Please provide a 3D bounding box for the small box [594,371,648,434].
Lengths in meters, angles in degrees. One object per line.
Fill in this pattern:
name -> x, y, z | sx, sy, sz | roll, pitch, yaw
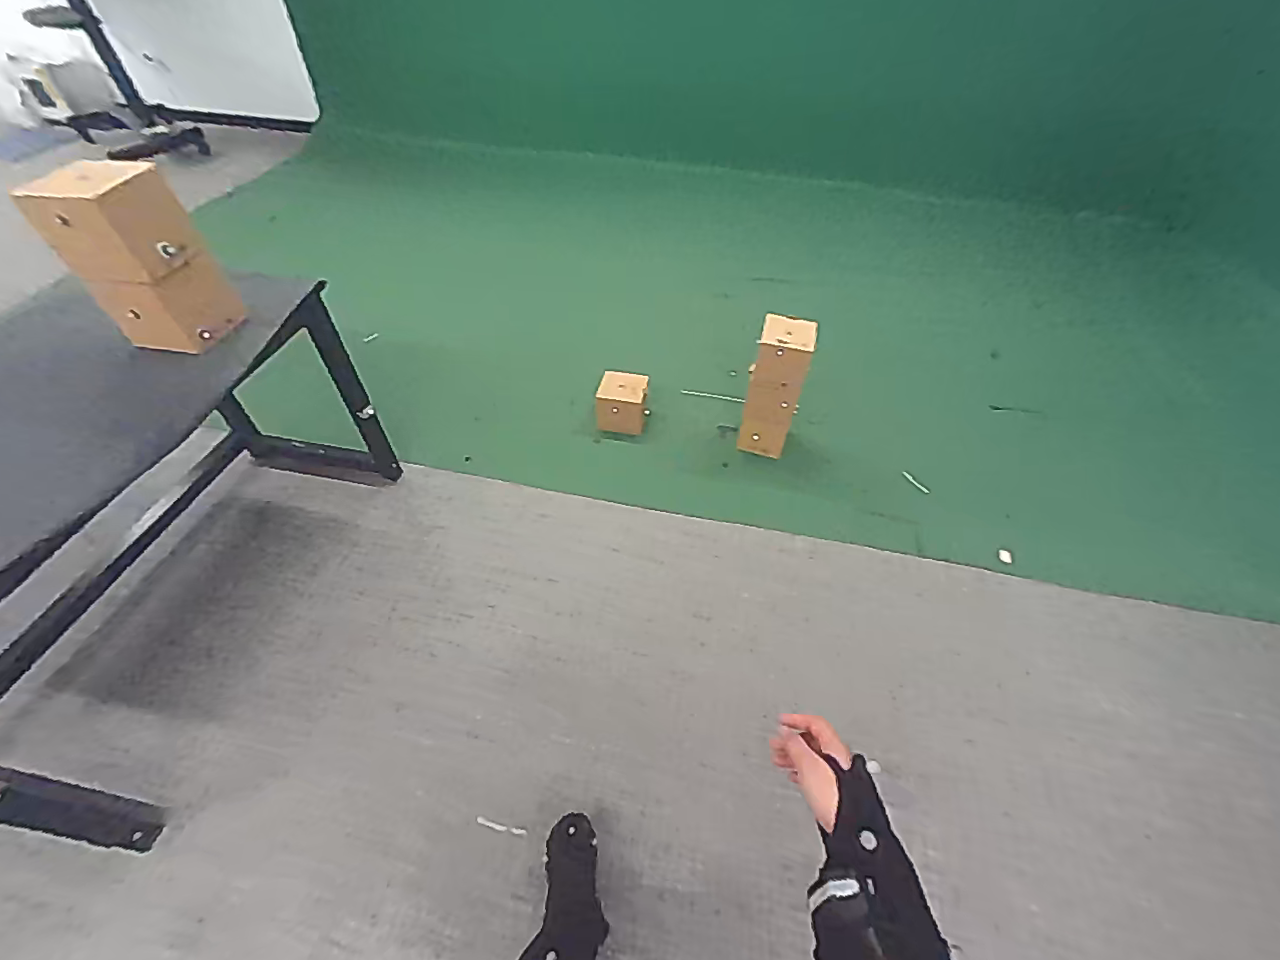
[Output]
small box -> -0.072, -0.298, 2.104 | 0.179, 0.176, 0.168 | 10, 50, 6

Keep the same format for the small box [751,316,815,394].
small box -> 0.474, -0.416, 1.799 | 0.168, 0.176, 0.179 | 14, 49, 8

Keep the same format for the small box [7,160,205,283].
small box -> -1.026, -0.504, 1.060 | 0.179, 0.176, 0.168 | 6, 51, 5

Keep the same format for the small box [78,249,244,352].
small box -> -1.029, -0.399, 1.183 | 0.179, 0.176, 0.168 | 8, 50, 9

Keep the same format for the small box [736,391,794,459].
small box -> 0.471, -0.207, 2.053 | 0.168, 0.176, 0.179 | 16, 50, 11
